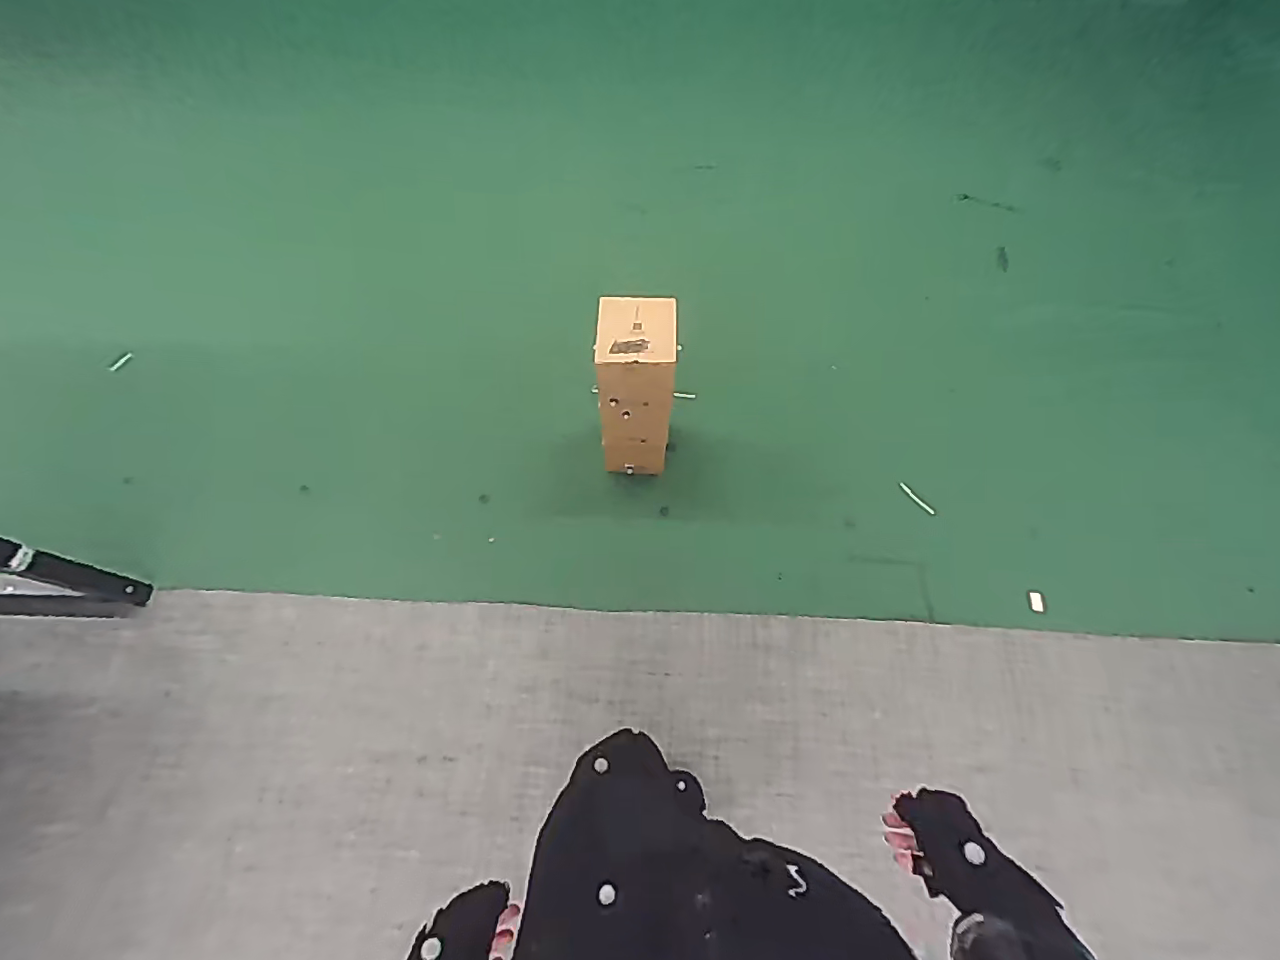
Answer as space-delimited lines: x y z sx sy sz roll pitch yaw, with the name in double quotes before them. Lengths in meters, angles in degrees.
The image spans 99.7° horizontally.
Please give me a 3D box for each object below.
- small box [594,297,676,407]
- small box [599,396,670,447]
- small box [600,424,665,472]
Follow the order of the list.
"small box" -0.007 -0.275 1.187 0.168 0.176 0.179 2 64 1
"small box" -0.008 -0.202 1.335 0.168 0.176 0.179 3 64 2
"small box" -0.013 -0.139 1.465 0.168 0.176 0.179 3 65 3
